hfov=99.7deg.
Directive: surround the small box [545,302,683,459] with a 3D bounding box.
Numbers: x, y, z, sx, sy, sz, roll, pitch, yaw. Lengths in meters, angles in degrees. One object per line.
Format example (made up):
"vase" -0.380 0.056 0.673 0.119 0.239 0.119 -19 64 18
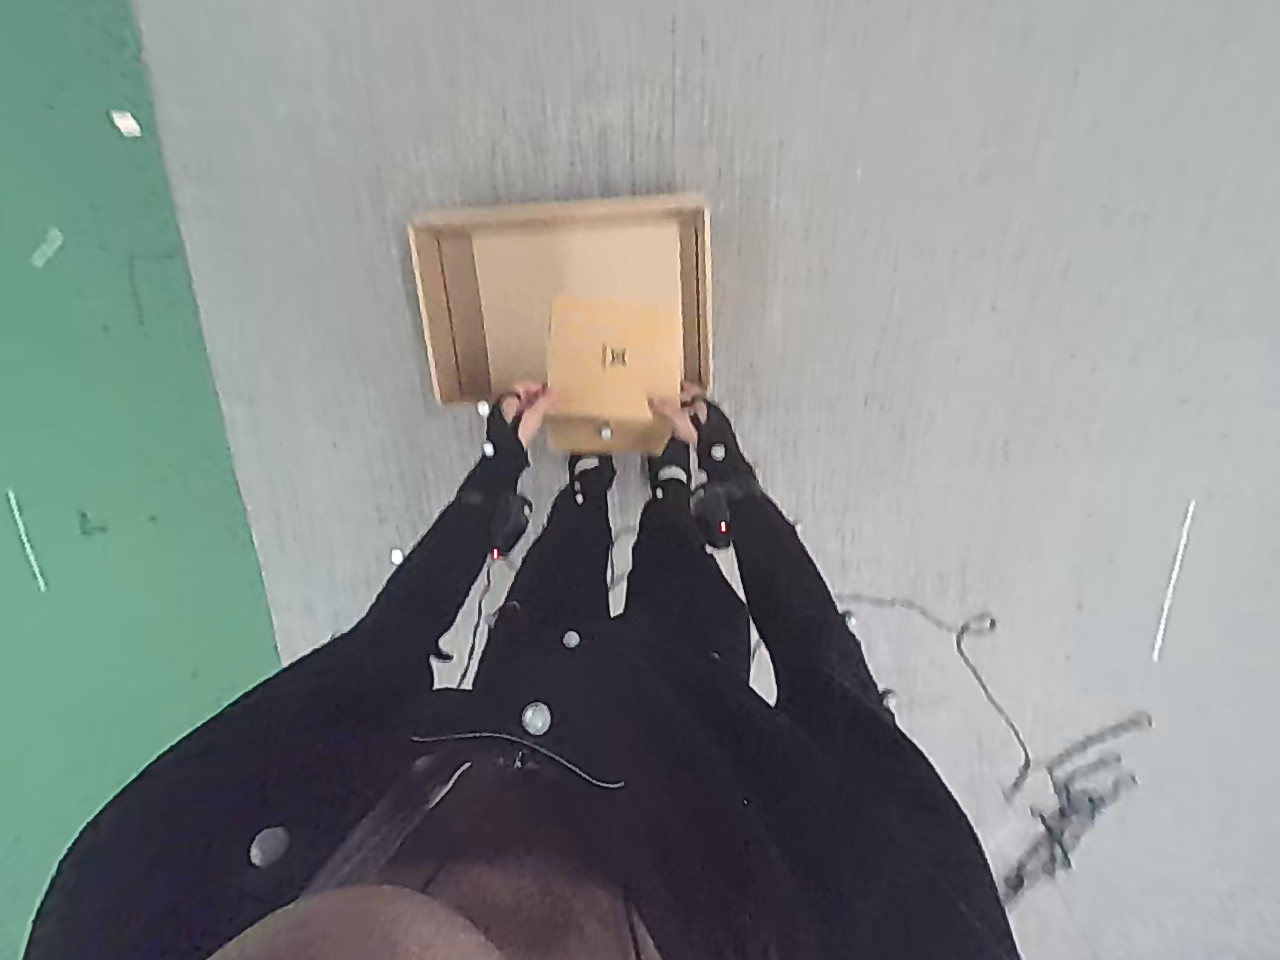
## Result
"small box" -0.040 -0.132 0.776 0.179 0.176 0.168 2 76 -6
